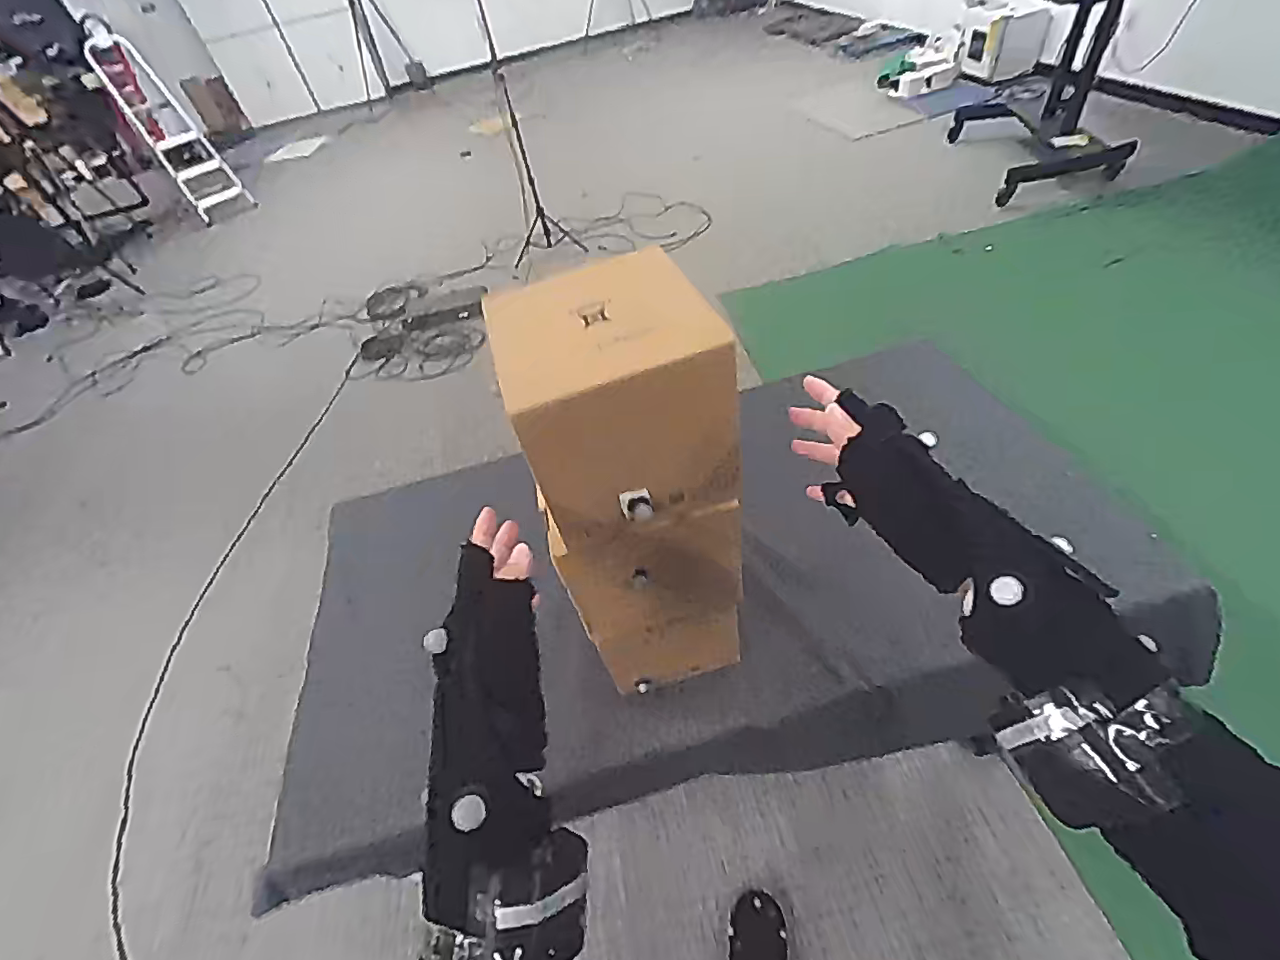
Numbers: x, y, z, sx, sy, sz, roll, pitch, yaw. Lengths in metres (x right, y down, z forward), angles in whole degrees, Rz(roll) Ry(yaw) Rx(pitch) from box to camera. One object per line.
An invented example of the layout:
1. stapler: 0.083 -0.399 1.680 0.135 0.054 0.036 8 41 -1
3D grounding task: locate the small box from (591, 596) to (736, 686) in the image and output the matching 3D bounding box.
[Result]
1. small box: 0.022 0.153 0.719 0.168 0.176 0.179 -16 45 -2

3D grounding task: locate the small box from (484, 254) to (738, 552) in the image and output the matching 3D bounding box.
1. small box: -0.023 -0.068 0.484 0.168 0.176 0.179 -21 47 -5

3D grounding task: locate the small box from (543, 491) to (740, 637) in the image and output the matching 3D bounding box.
1. small box: 0.000 0.047 0.600 0.179 0.176 0.168 -17 45 -4
